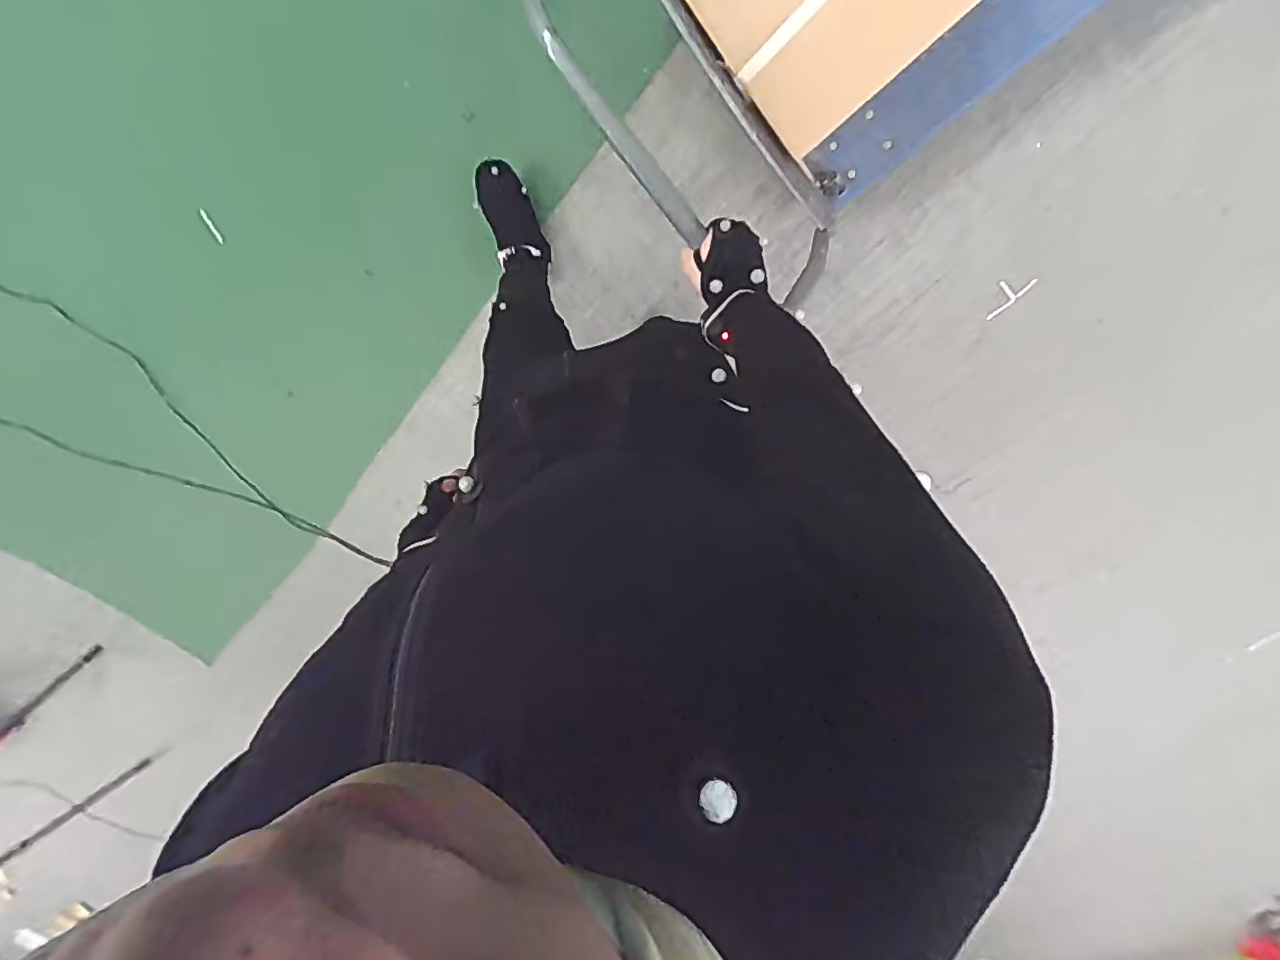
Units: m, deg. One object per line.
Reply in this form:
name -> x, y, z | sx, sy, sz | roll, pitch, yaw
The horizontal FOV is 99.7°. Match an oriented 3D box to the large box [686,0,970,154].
large box -> 0.332, -0.821, 0.867 | 0.408, 0.320, 0.320 | -32, 112, 35
